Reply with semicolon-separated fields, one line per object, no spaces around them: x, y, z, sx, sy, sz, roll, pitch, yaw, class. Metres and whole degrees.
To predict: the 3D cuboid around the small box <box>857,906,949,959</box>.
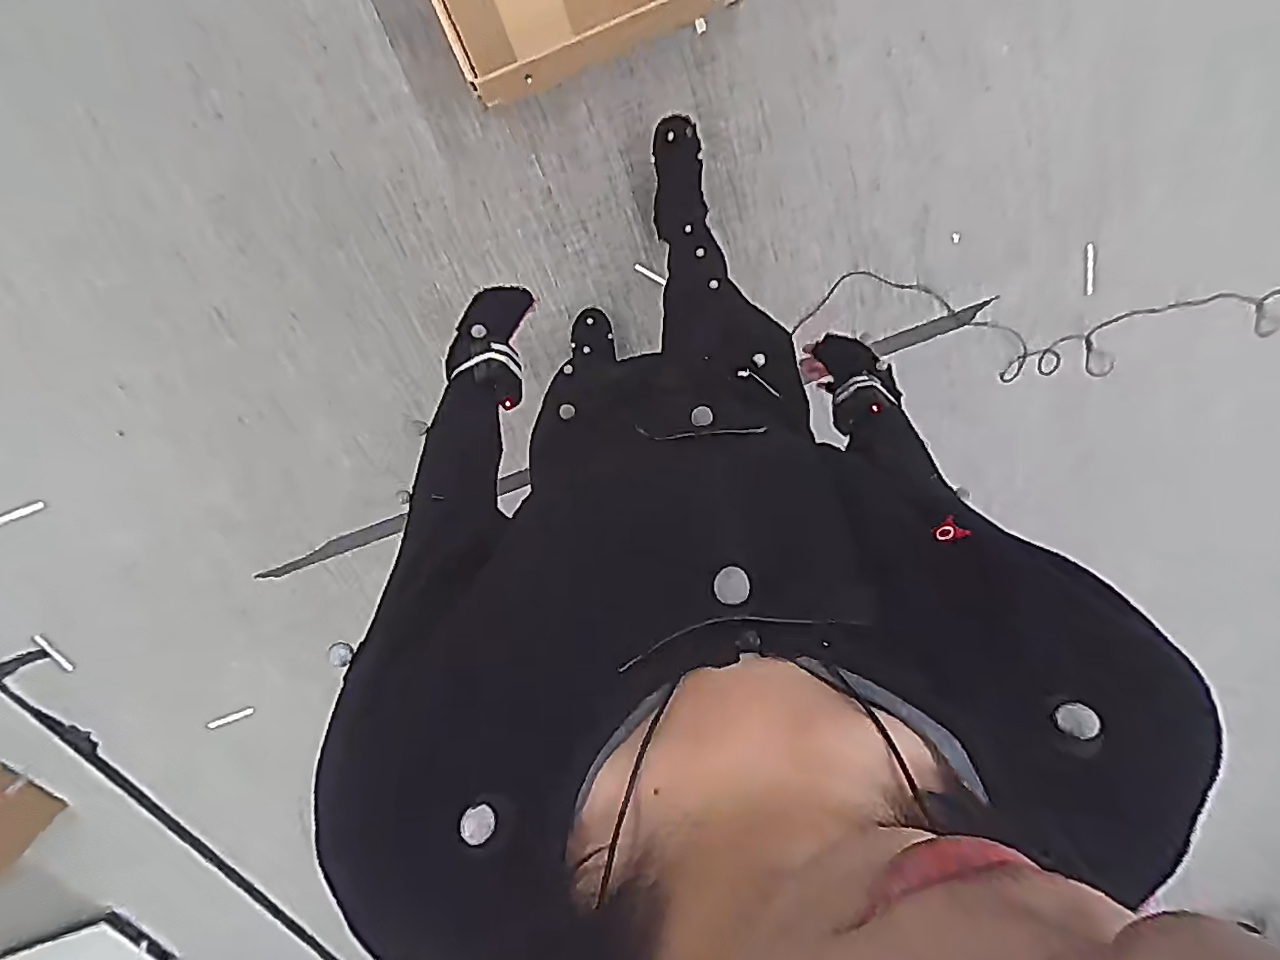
0.618;1.116;1.217;0.168;0.176;0.179;-25;113;3;small box
